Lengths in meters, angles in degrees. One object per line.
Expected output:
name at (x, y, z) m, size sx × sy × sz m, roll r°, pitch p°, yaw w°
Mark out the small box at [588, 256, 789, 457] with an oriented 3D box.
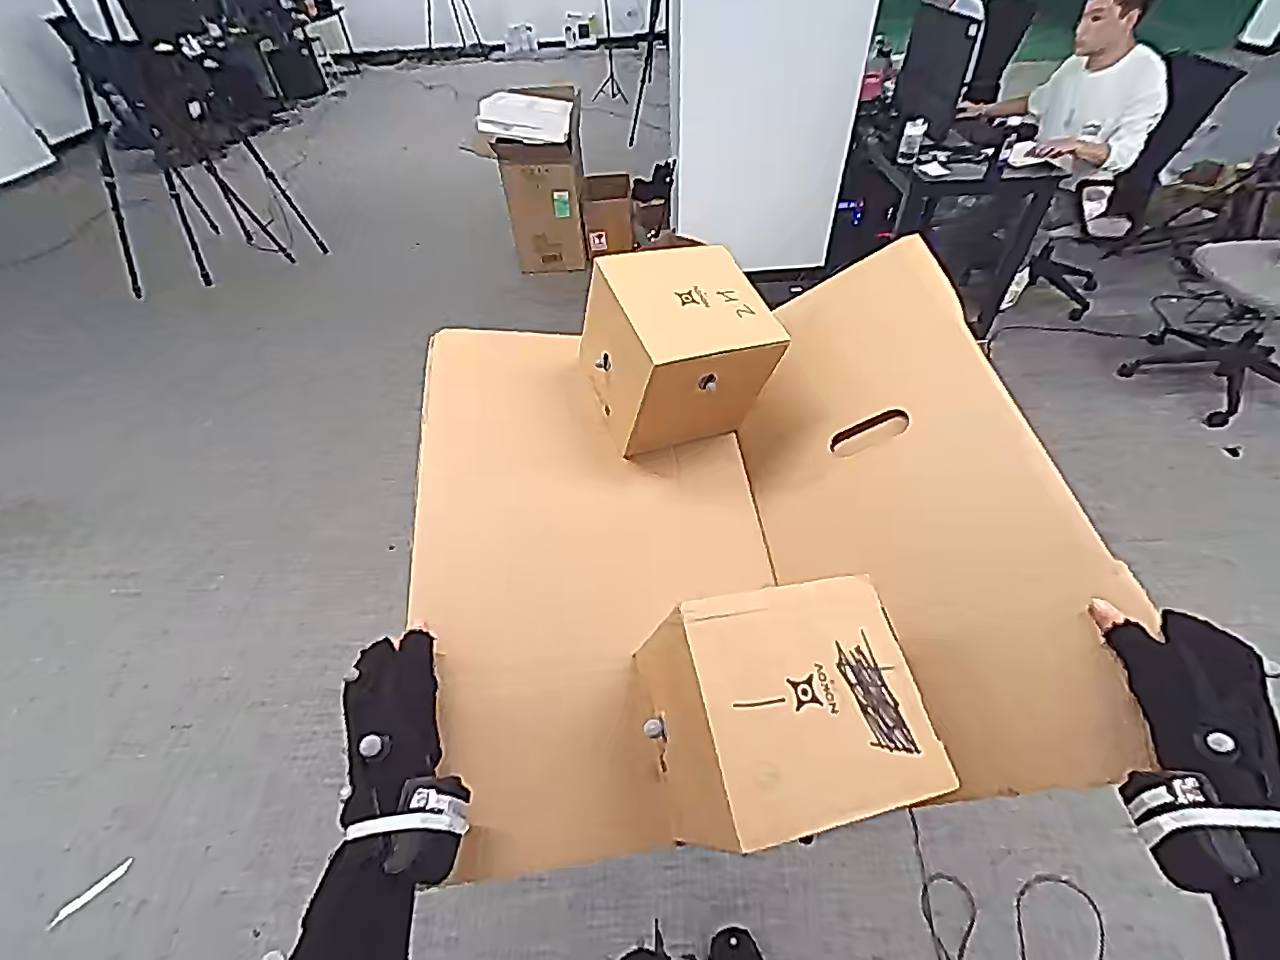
small box at (0.043, -0.148, 0.668) m, size 0.179 × 0.176 × 0.168 m, roll -14°, pitch 63°, yaw -22°
